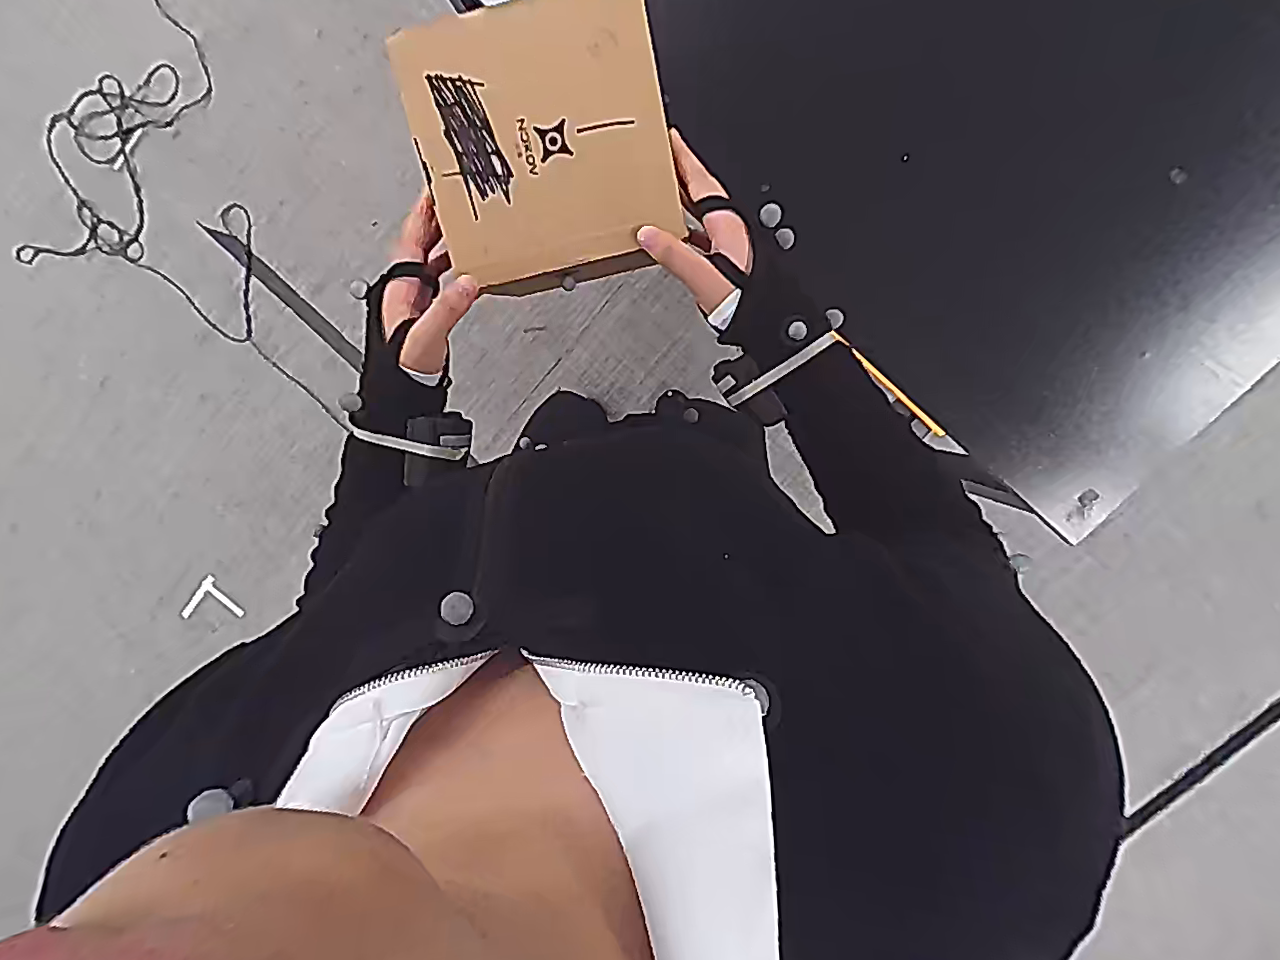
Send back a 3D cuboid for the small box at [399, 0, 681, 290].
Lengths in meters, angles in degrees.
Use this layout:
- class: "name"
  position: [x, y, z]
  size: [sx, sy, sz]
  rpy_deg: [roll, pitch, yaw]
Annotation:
- class: "small box"
  position: [-0.065, -0.265, 0.463]
  size: [0.179, 0.176, 0.168]
  rpy_deg: [-11, 106, 5]
